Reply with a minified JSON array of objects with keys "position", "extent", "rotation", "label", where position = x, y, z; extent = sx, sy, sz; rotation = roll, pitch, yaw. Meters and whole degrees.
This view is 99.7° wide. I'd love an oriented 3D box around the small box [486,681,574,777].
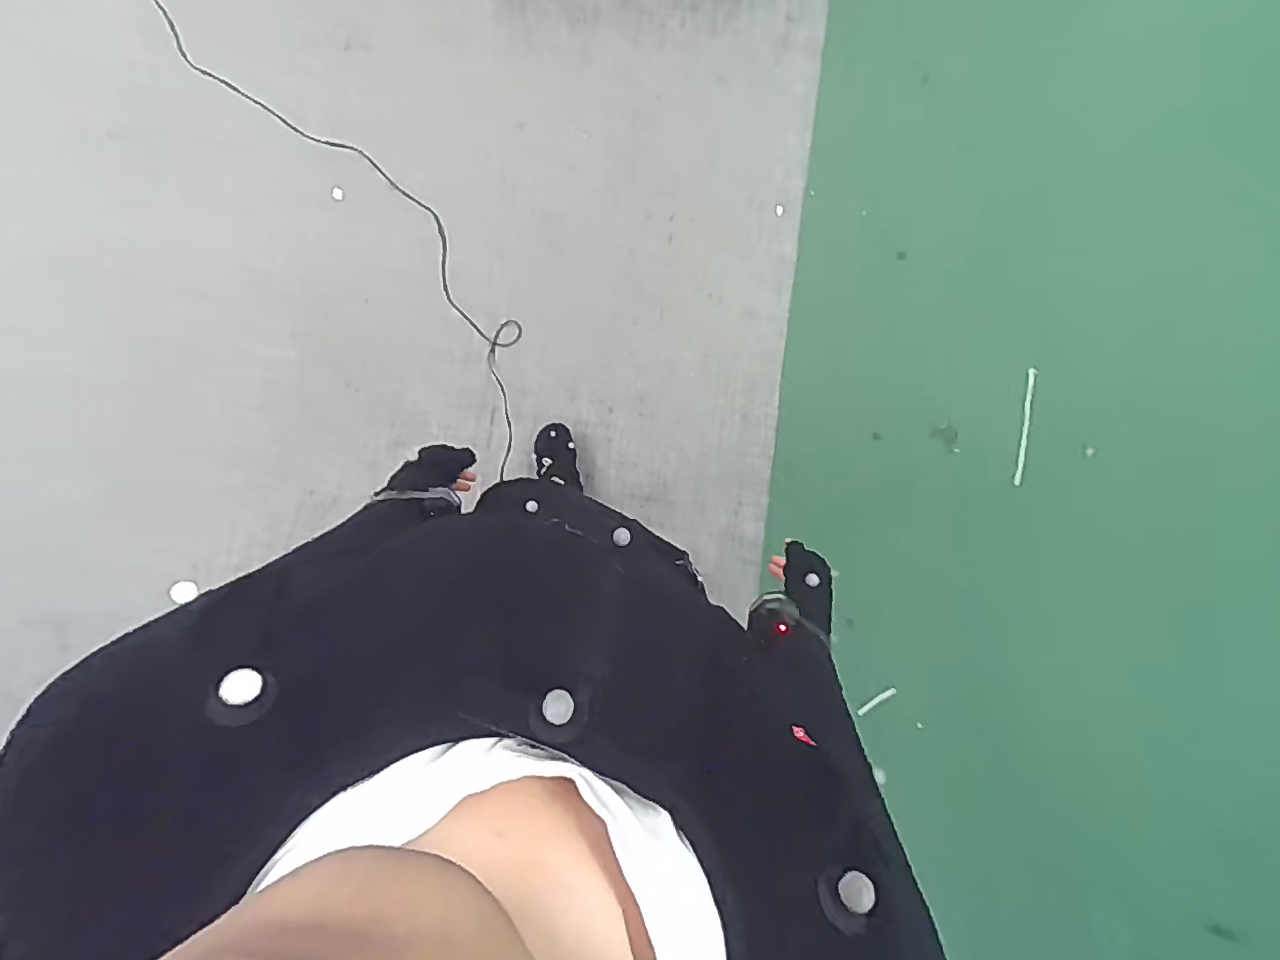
[{"position":[-0.265,0.606,1.330],"extent":[0.179,0.176,0.168],"rotation":[-2,89,3],"label":"small box"}]
